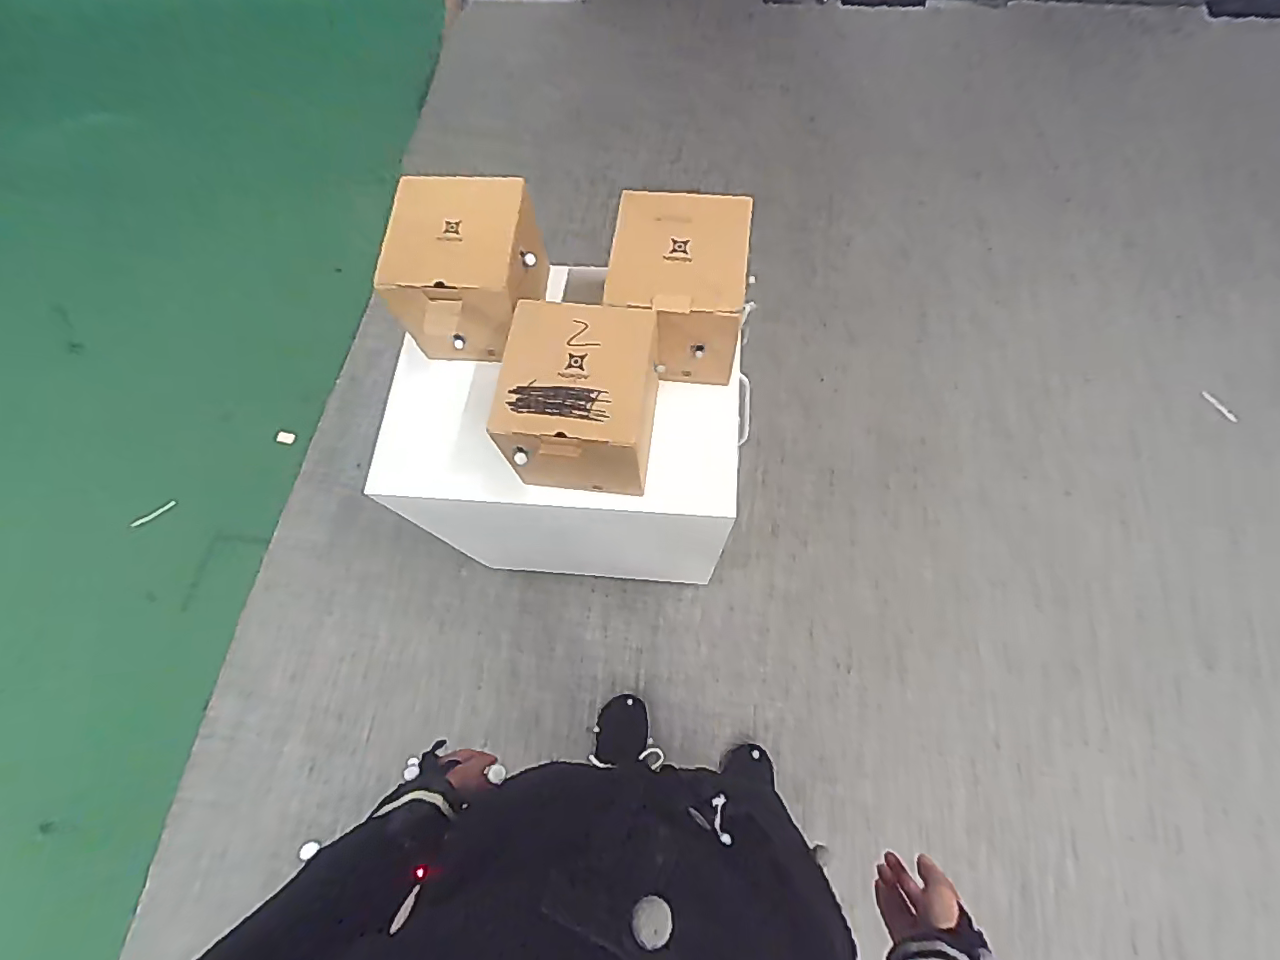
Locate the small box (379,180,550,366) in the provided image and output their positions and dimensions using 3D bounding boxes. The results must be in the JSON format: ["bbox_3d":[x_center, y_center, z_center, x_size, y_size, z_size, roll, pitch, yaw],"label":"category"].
[{"bbox_3d":[-0.227,-0.280,0.753,0.168,0.176,0.179,3,72,4],"label":"small box"}]
